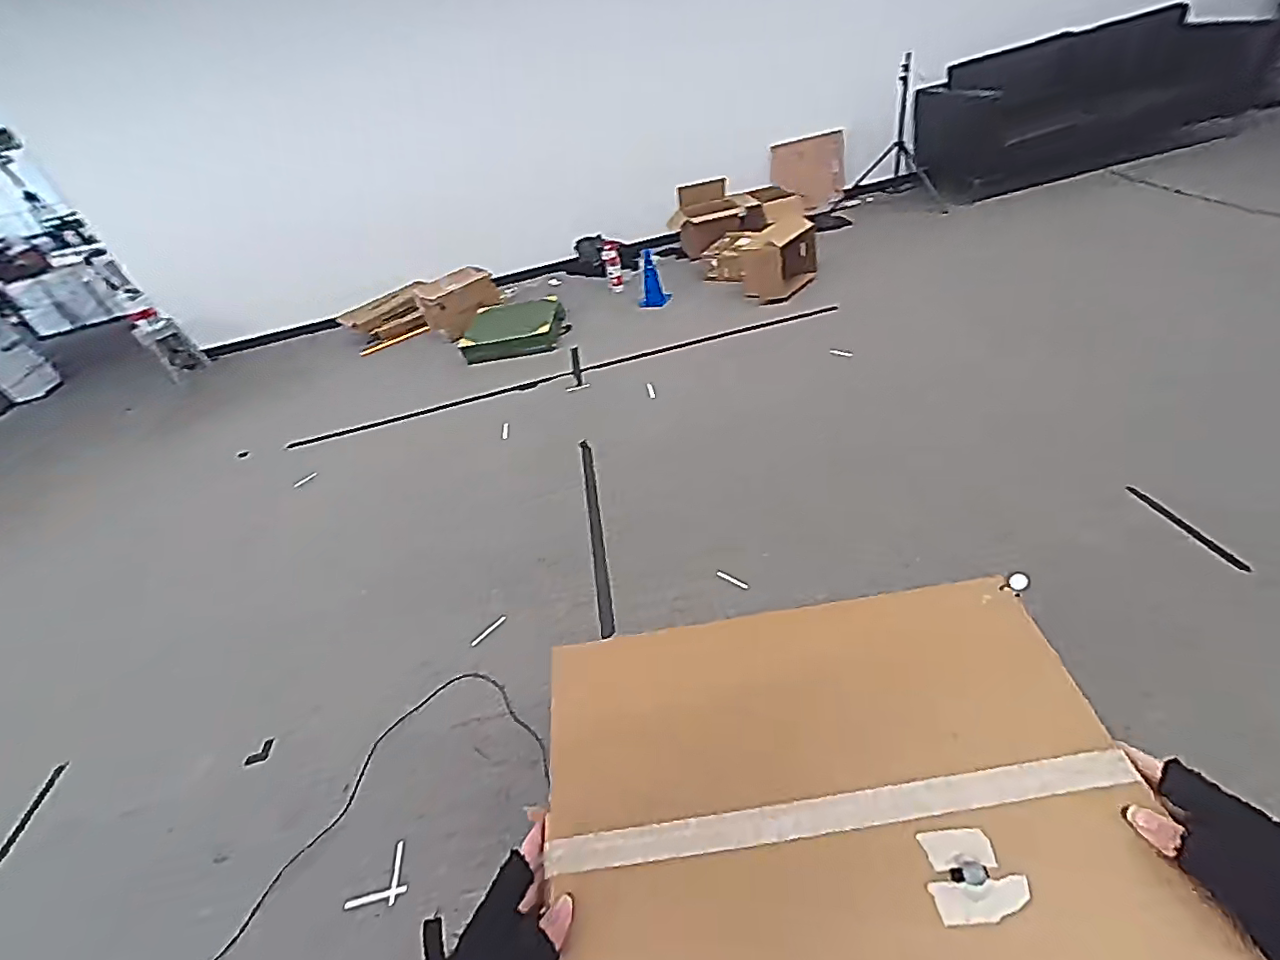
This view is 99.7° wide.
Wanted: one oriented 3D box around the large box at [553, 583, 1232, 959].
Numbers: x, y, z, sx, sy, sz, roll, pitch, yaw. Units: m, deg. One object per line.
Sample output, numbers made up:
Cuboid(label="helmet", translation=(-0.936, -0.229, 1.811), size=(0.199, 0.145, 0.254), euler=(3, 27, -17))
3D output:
Cuboid(label="large box", translation=(0.151, 0.338, 0.496), size=(0.408, 0.320, 0.320), euler=(-10, 47, 0))
